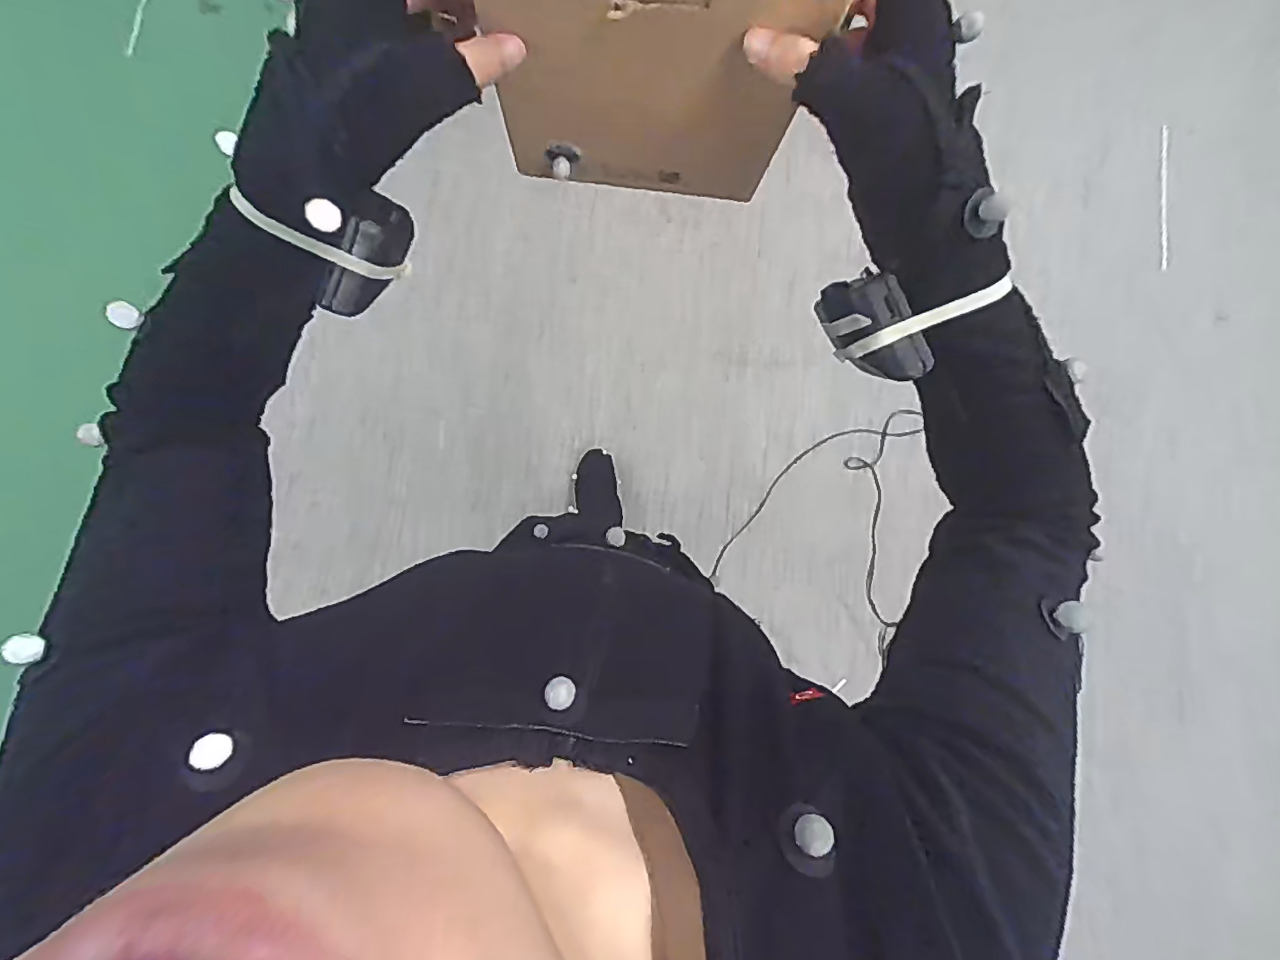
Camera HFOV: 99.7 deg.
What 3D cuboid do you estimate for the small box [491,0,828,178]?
[{"bbox_3d":[0.012,-0.303,0.303,0.168,0.176,0.179,4,87,-4],"label":"small box"}]
